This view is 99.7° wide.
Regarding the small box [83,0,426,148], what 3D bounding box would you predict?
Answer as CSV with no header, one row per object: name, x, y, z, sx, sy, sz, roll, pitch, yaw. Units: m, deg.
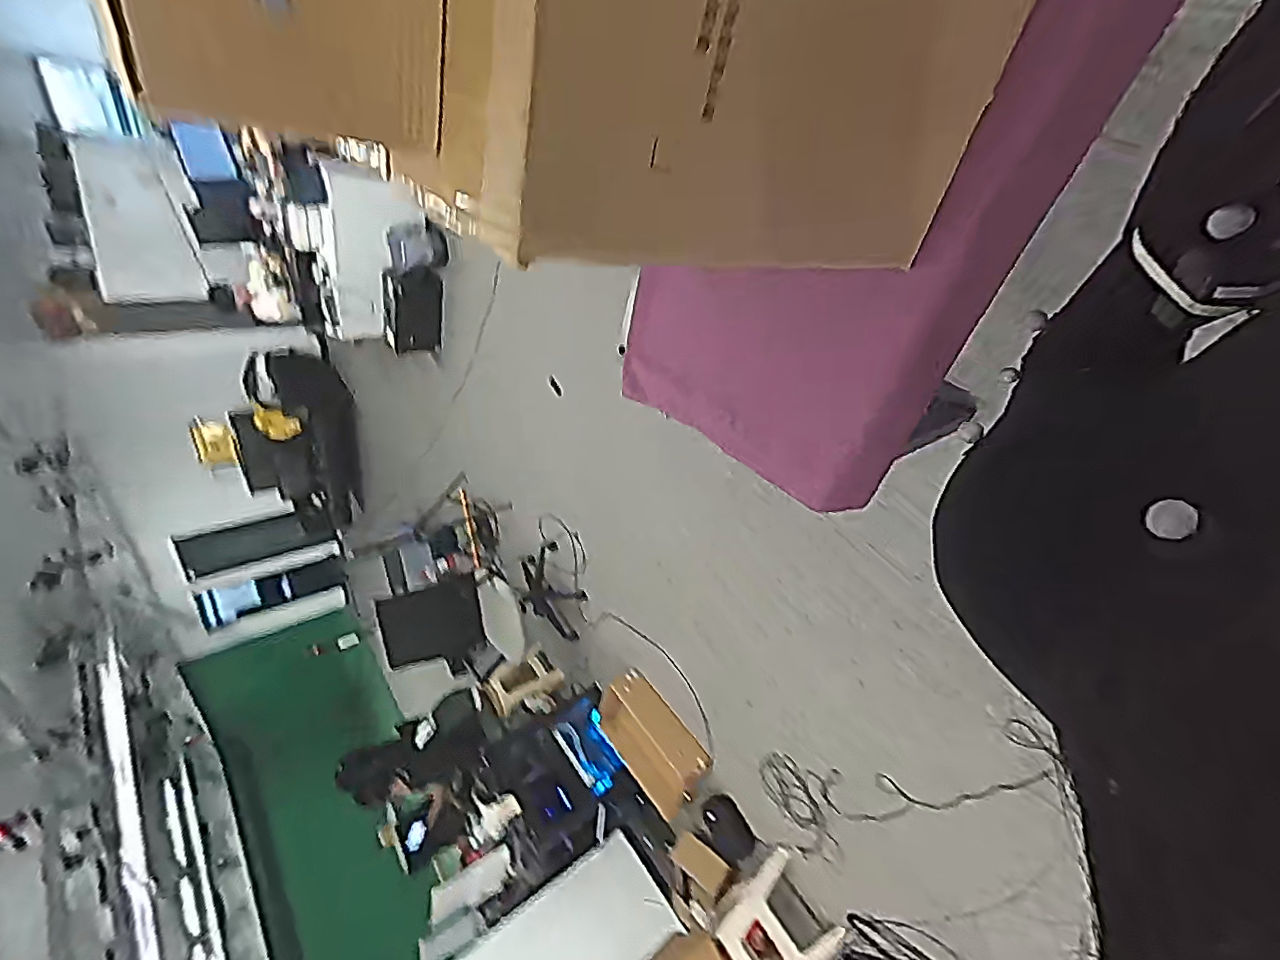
small box,-0.243,-0.329,0.336,0.168,0.176,0.179,43,133,32
